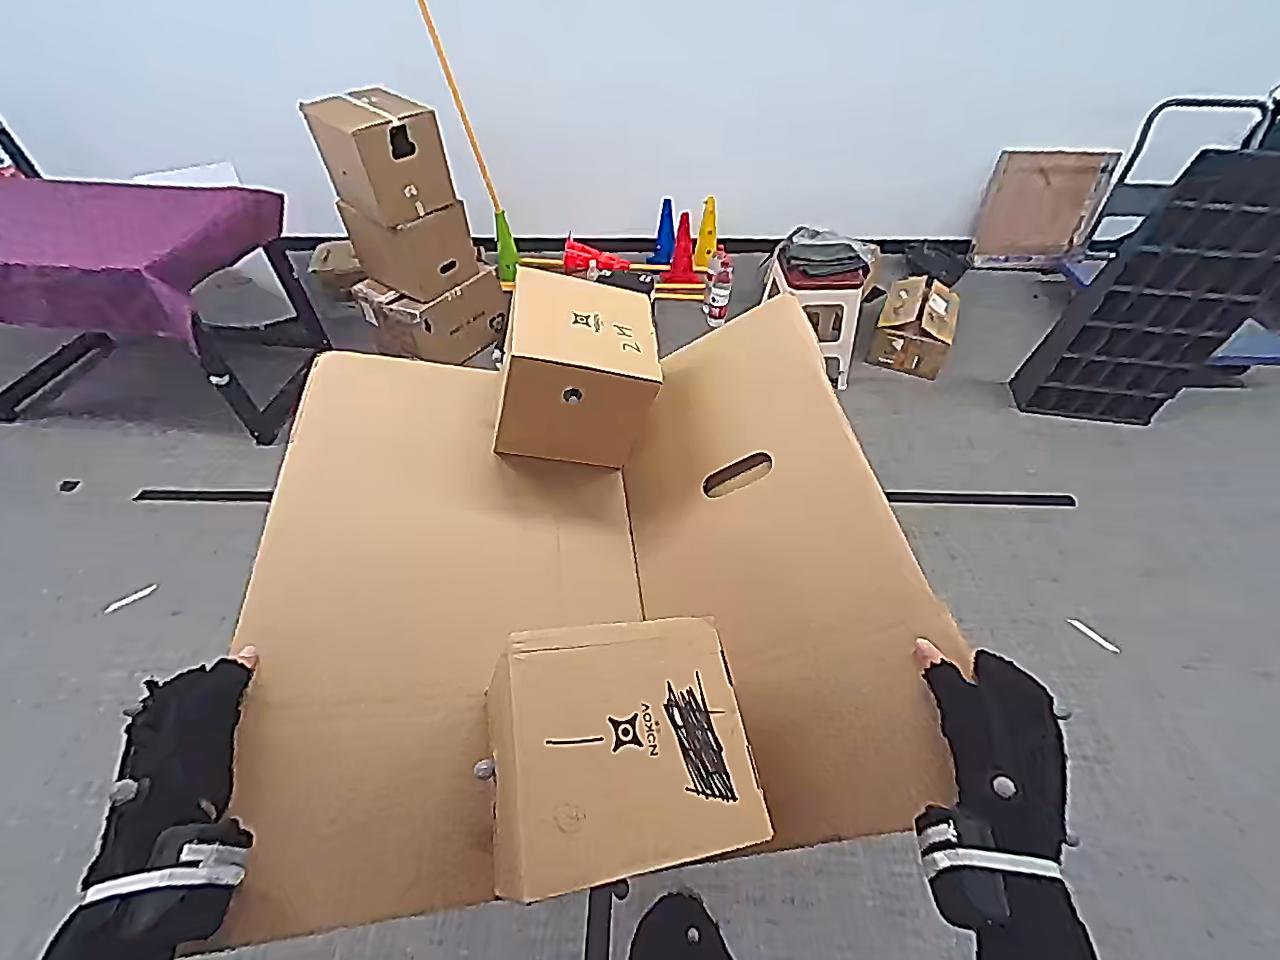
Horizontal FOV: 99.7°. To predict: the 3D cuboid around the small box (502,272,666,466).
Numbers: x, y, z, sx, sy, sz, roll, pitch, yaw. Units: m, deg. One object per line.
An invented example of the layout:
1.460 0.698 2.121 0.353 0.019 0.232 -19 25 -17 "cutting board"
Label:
-0.080 -0.136 0.709 0.179 0.176 0.168 9 52 -17 "small box"
